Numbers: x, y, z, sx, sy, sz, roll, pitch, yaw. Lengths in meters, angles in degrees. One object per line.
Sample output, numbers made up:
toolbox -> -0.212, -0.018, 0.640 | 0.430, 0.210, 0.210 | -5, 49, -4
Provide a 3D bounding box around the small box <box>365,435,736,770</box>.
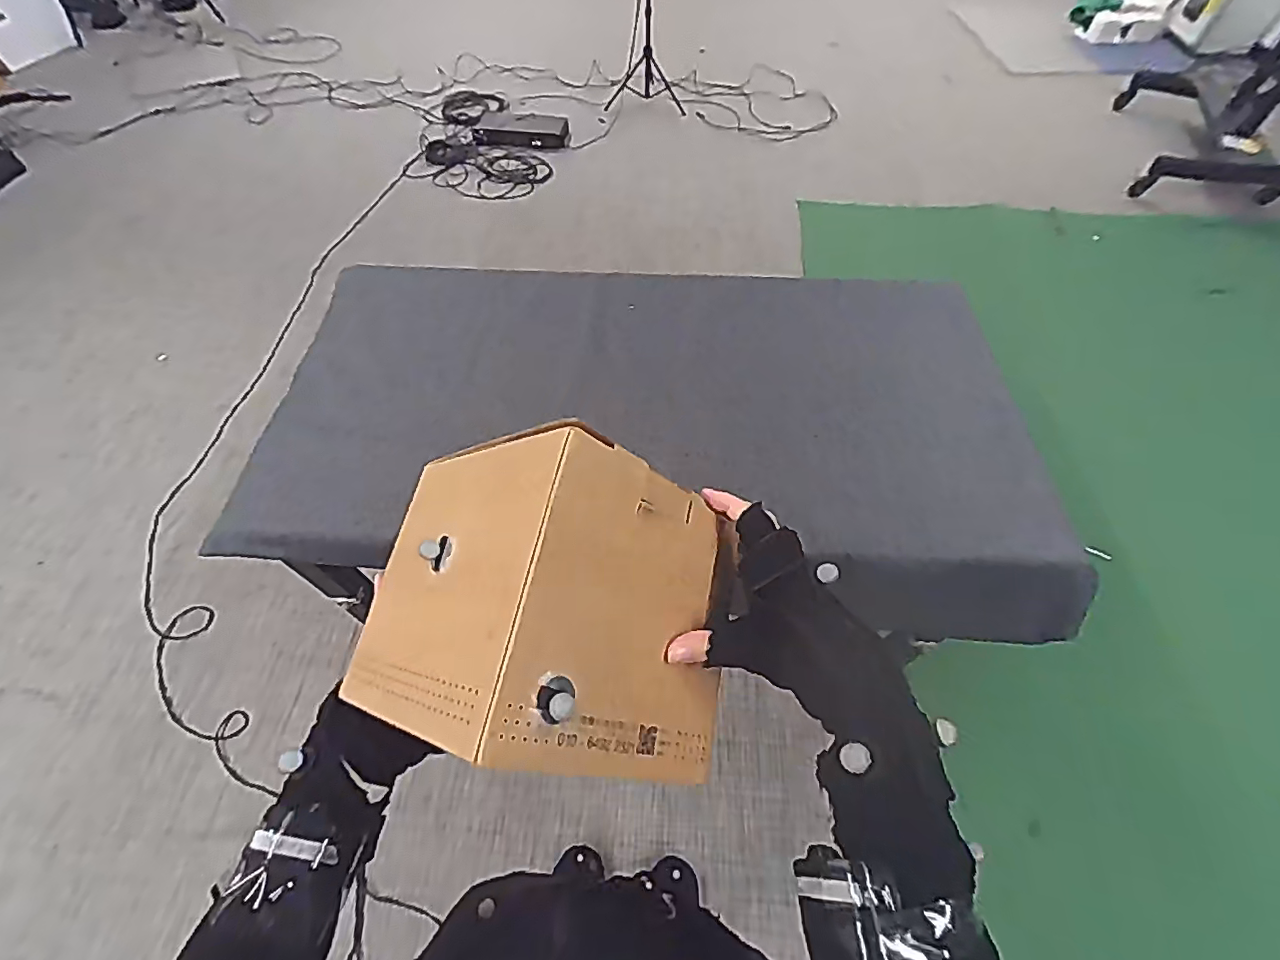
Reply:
small box -> -0.058, 0.091, 0.380 | 0.179, 0.168, 0.176 | -10, 58, 44
